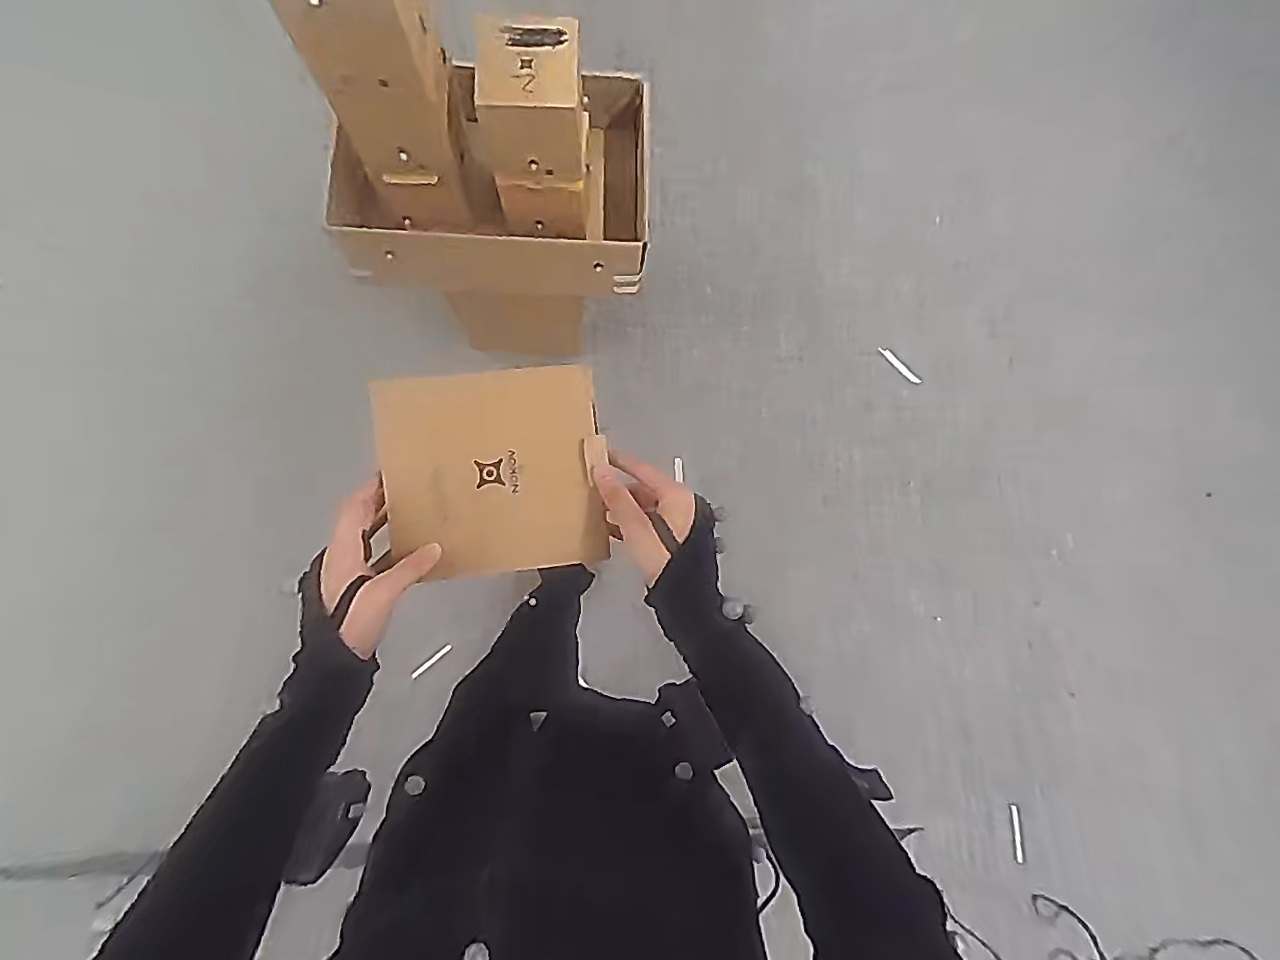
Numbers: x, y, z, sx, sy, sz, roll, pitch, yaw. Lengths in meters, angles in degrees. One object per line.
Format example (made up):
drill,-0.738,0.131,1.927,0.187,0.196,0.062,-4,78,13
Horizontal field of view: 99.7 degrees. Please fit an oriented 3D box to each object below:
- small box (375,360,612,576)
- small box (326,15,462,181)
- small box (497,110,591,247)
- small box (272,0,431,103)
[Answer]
small box,-0.127,-0.013,0.515,0.179,0.176,0.168,-6,91,-7
small box,-0.414,-0.658,0.938,0.168,0.176,0.179,-1,80,-4
small box,-0.189,-0.614,1.115,0.168,0.176,0.179,3,80,-2
small box,-0.410,-0.690,0.776,0.168,0.176,0.179,-1,78,-4
